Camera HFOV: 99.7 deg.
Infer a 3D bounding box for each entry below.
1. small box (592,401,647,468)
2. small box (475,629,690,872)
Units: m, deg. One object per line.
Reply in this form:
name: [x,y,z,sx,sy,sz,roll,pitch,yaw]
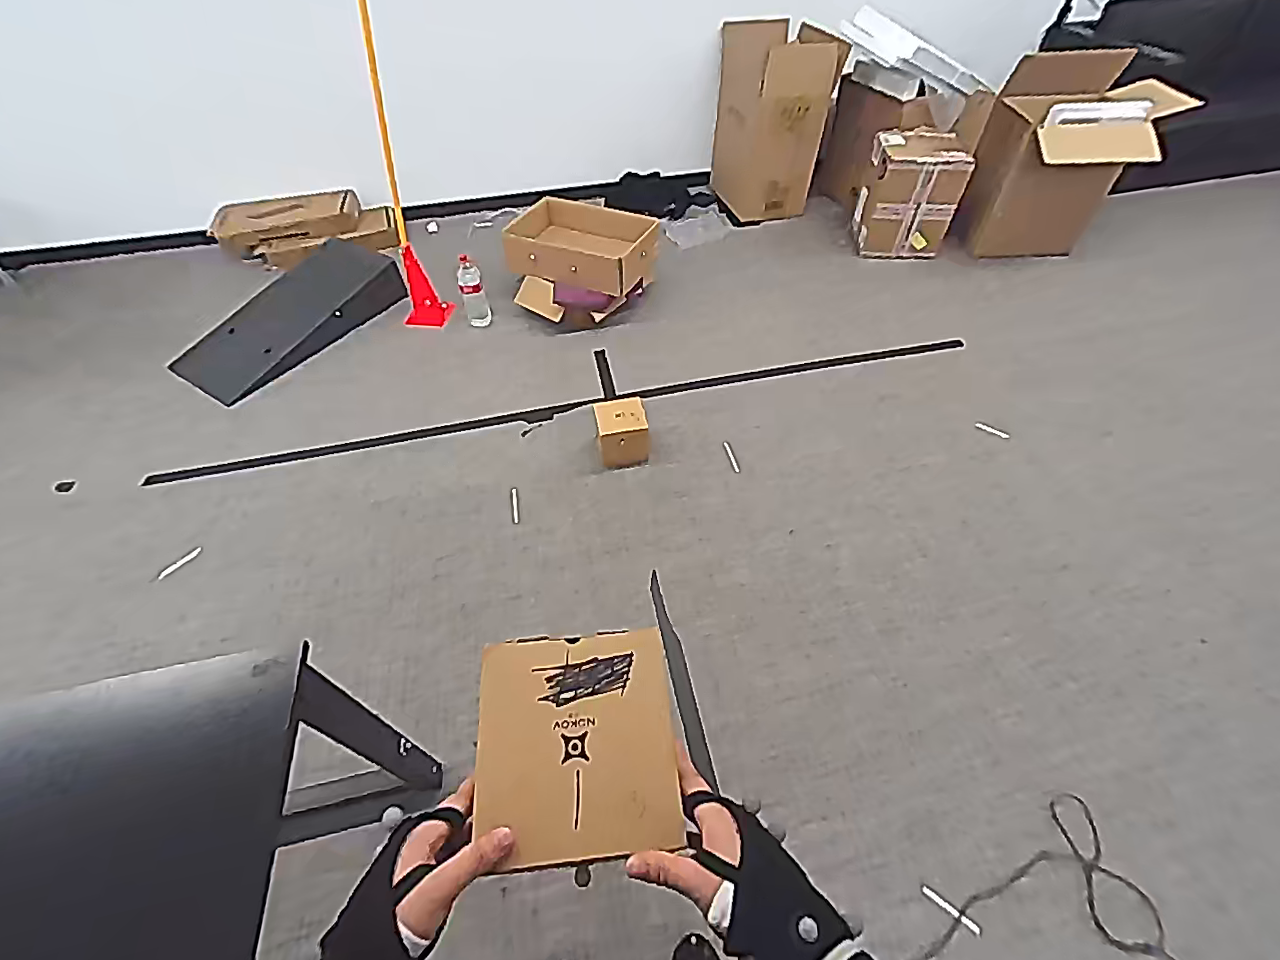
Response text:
small box: [-0.073,-0.162,1.983,0.179,0.176,0.168,-9,51,-7]
small box: [-0.052,0.262,0.520,0.168,0.176,0.179,-4,55,-4]
